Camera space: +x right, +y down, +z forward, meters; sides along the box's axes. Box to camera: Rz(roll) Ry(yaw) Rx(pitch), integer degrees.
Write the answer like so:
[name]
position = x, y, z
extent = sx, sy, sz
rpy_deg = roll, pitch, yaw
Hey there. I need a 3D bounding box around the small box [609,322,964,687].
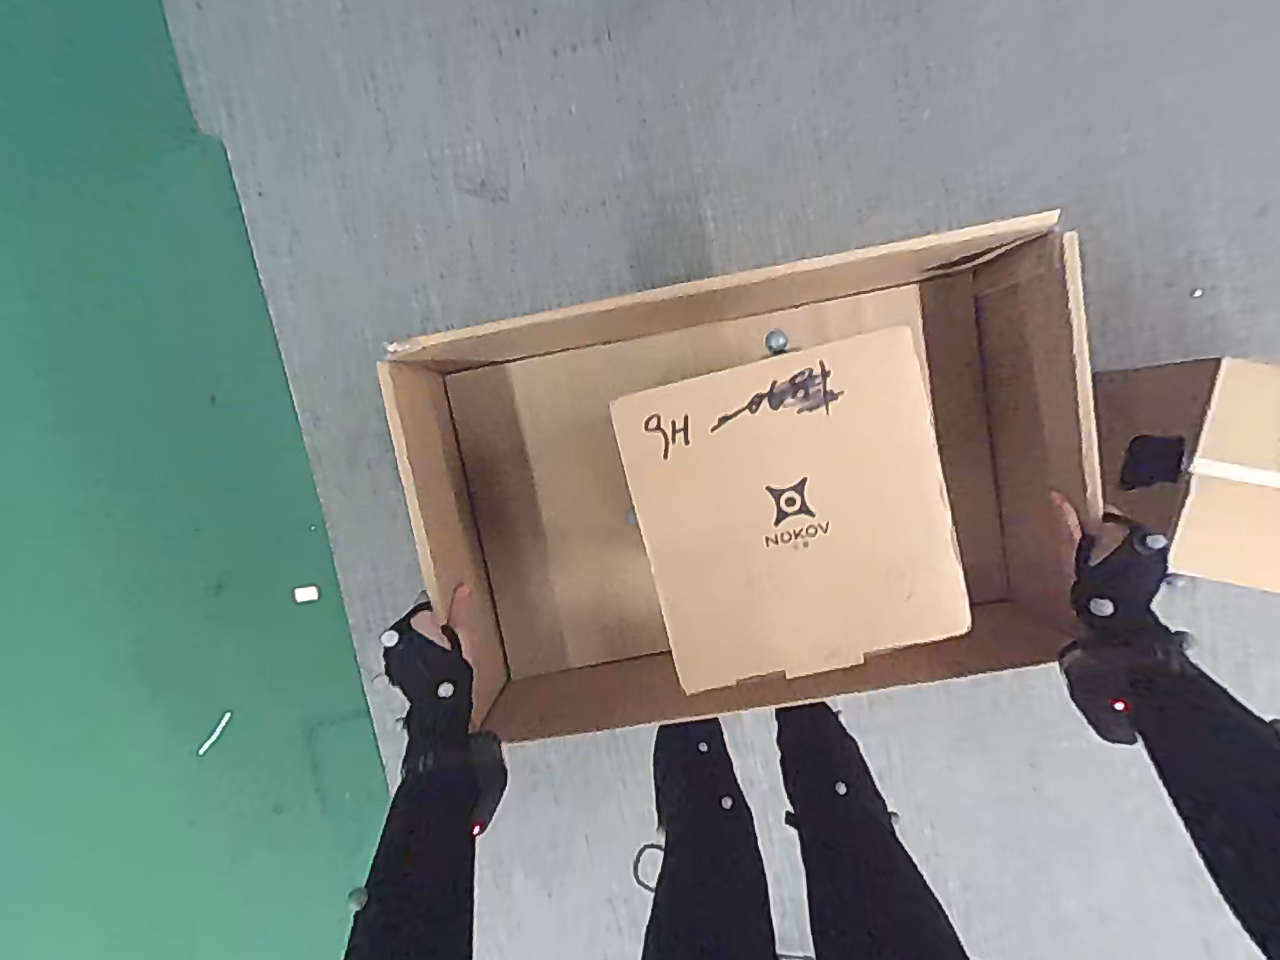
[small box]
position = 0.084, 0.008, 0.372
extent = 0.168, 0.176, 0.179
rpy_deg = -14, 96, 3
